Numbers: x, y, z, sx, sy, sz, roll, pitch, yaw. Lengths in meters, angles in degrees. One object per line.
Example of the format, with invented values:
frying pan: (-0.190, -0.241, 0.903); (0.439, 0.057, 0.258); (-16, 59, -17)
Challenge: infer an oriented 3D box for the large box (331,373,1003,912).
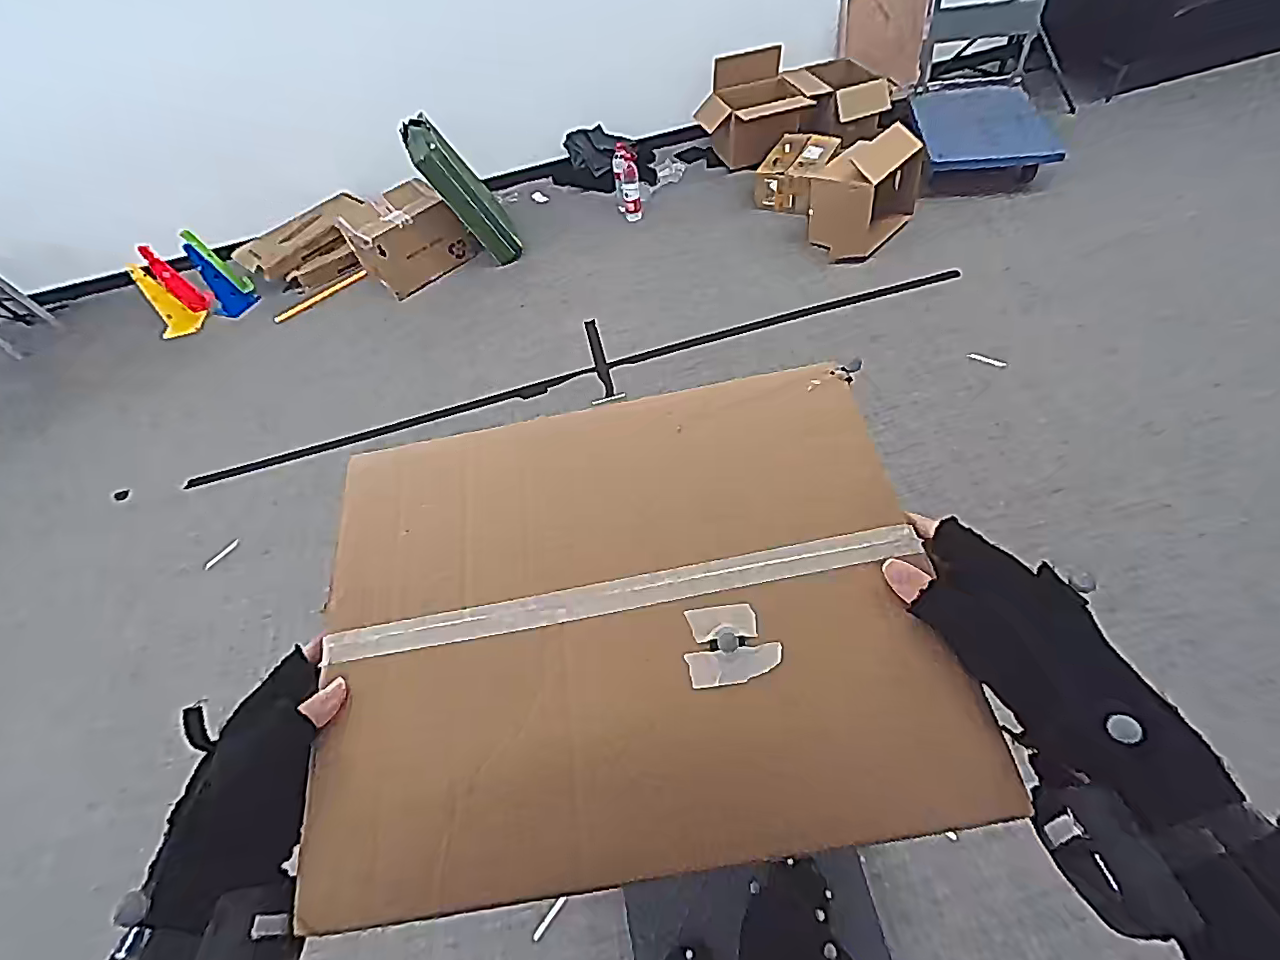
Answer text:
large box: (0.005, 0.150, 0.510); (0.408, 0.320, 0.320); (-11, 62, 1)
